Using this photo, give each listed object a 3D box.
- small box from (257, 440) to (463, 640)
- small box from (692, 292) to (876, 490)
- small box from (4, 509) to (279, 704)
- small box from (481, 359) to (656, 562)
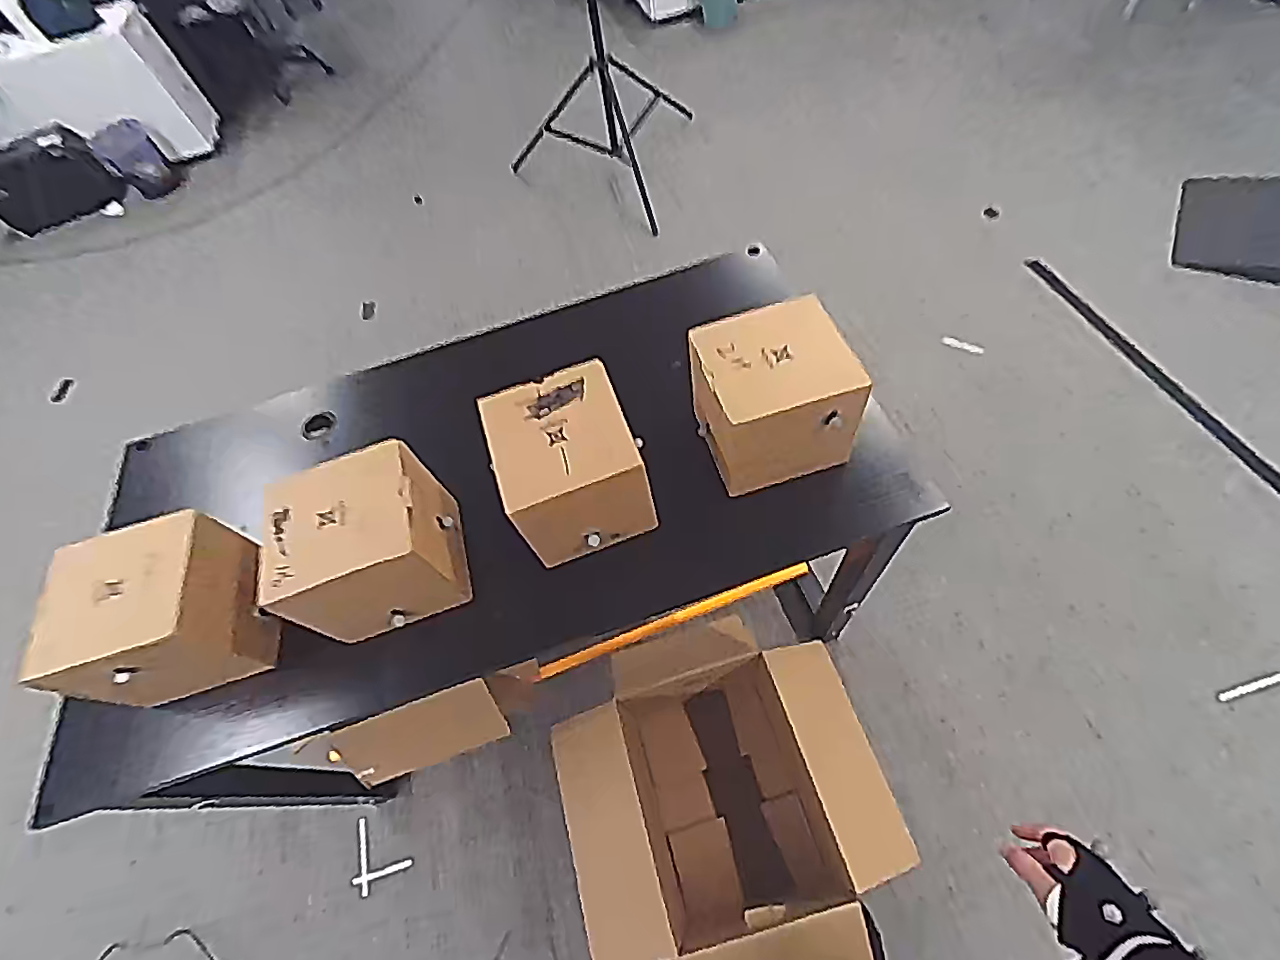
[{"bbox_3d":[-0.340,0.082,0.685,0.179,0.176,0.168,-19,59,-5],"label":"small box"},{"bbox_3d":[0.176,-0.112,0.718,0.179,0.176,0.168,-17,58,-1],"label":"small box"},{"bbox_3d":[-0.589,0.165,0.673,0.179,0.176,0.168,-17,59,-3],"label":"small box"},{"bbox_3d":[-0.088,-0.020,0.706,0.168,0.176,0.179,-20,59,-3],"label":"small box"}]
